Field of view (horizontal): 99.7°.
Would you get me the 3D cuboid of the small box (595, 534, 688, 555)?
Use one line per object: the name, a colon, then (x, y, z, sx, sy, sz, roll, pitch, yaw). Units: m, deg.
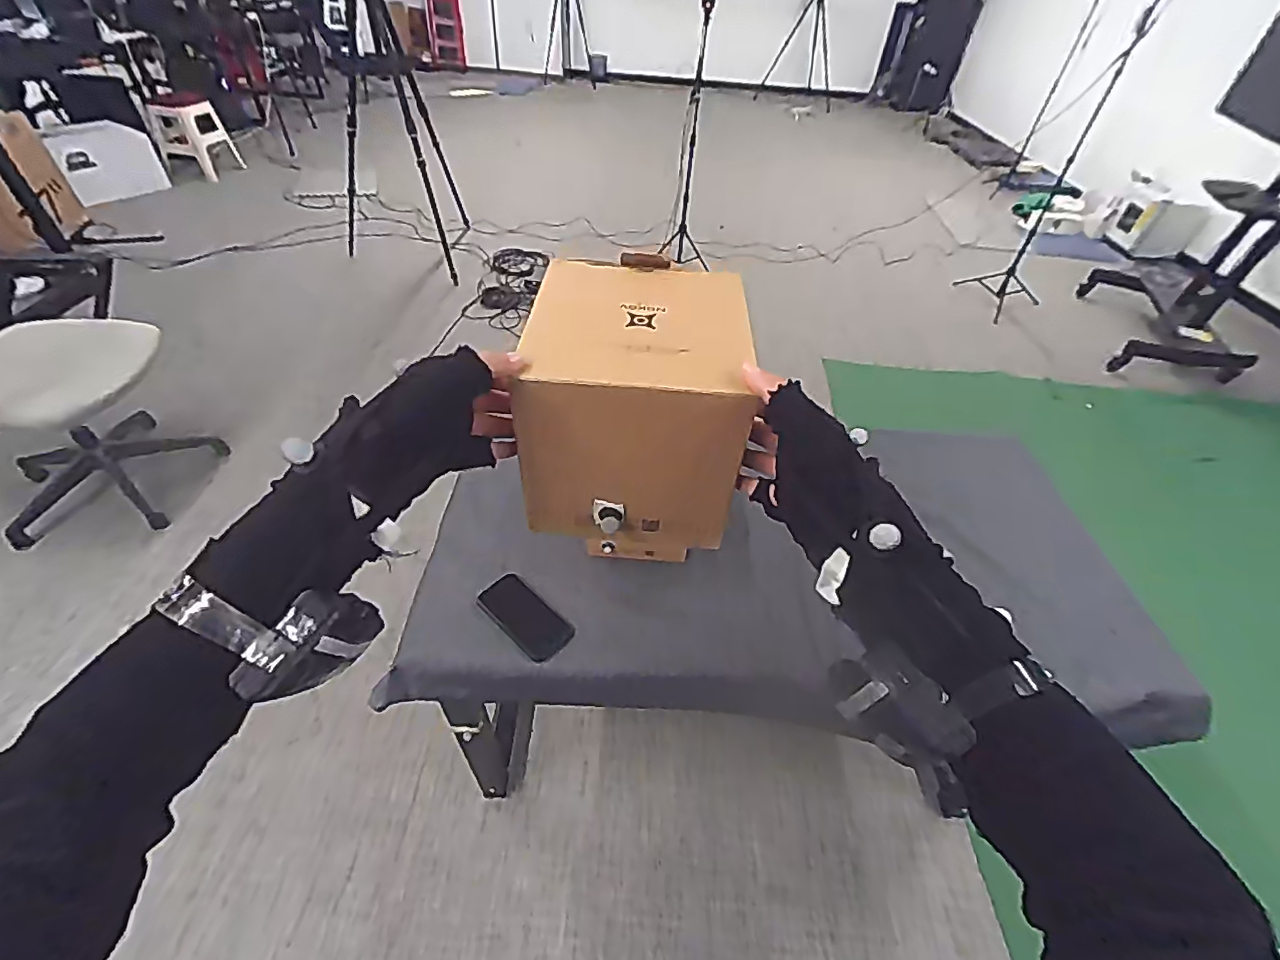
small box: (0.010, 0.009, 0.929, 0.168, 0.176, 0.179, 5, 44, 0)

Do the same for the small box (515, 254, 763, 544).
small box: (-0.001, -0.069, 0.463, 0.168, 0.176, 0.179, 4, 47, 0)
